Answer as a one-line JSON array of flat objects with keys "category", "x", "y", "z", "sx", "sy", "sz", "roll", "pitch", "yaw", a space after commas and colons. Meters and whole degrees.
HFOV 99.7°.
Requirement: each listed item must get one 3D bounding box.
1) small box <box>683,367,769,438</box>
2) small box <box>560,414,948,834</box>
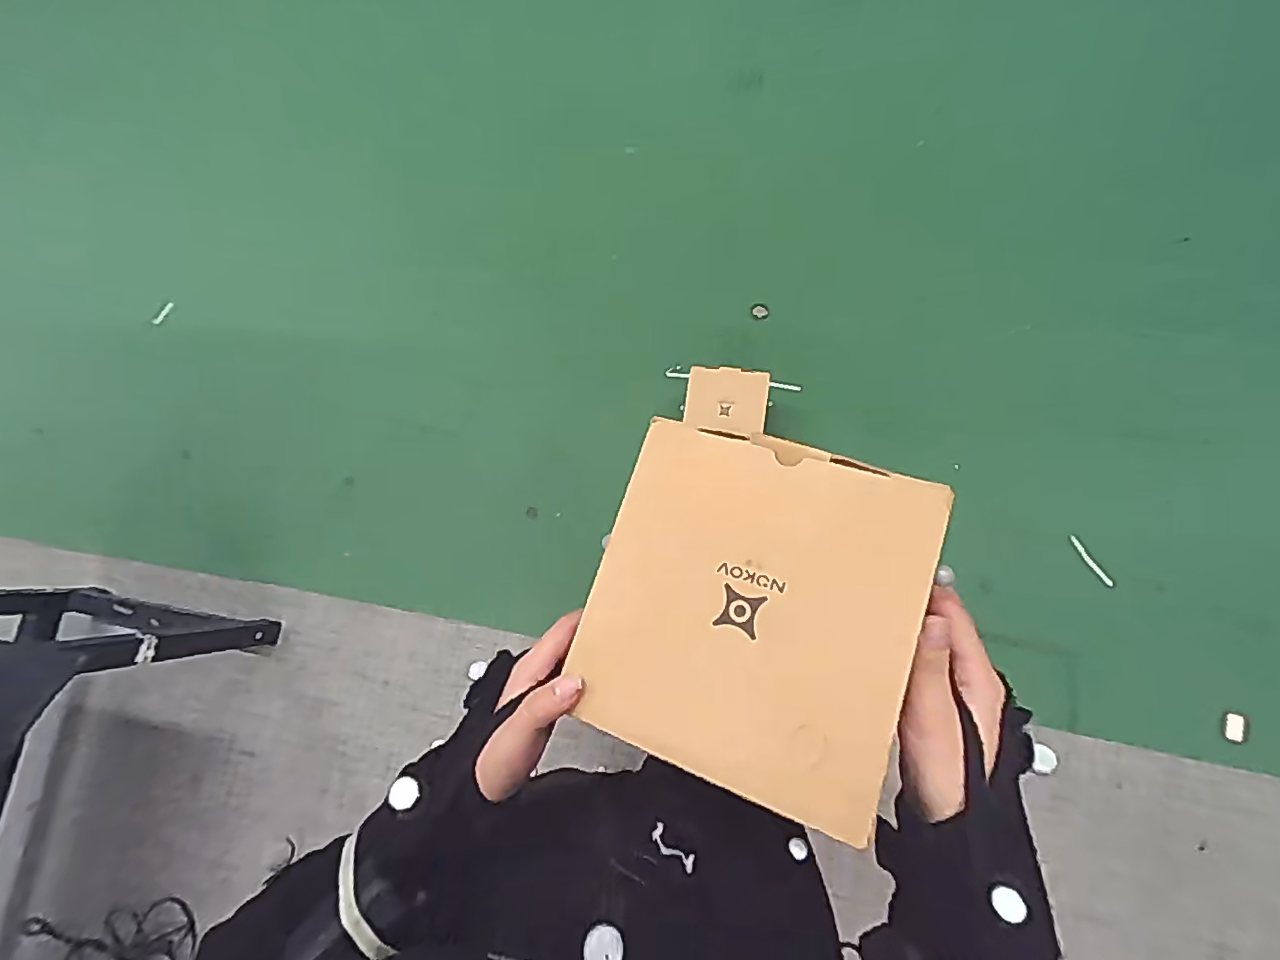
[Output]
[{"category": "small box", "x": 0.182, "y": -0.128, "z": 1.176, "sx": 0.168, "sy": 0.176, "sz": 0.179, "roll": 7, "pitch": 82, "yaw": 10}, {"category": "small box", "x": 0.077, "y": 0.081, "z": 0.359, "sx": 0.168, "sy": 0.176, "sz": 0.179, "roll": 16, "pitch": 80, "yaw": 19}]
